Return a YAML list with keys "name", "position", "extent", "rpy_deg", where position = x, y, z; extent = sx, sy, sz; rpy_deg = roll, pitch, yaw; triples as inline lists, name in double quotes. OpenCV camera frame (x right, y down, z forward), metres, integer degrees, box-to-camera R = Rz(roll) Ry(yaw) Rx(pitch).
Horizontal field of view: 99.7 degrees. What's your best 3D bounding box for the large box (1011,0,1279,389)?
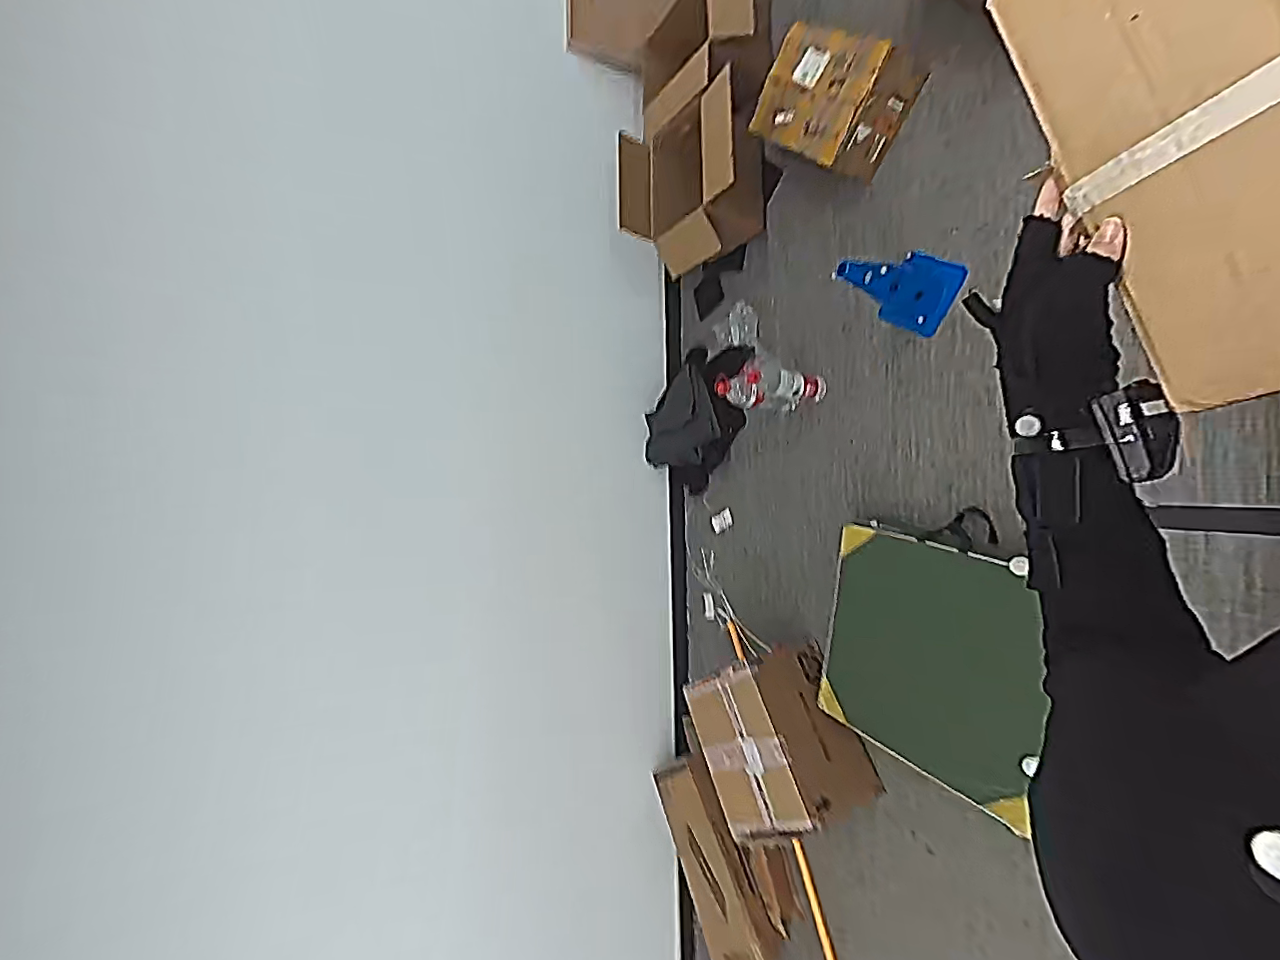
- name: "large box"
  position: [0.516, -0.277, 0.275]
  extent: [0.408, 0.320, 0.320]
  rpy_deg: [-26, 80, 56]
